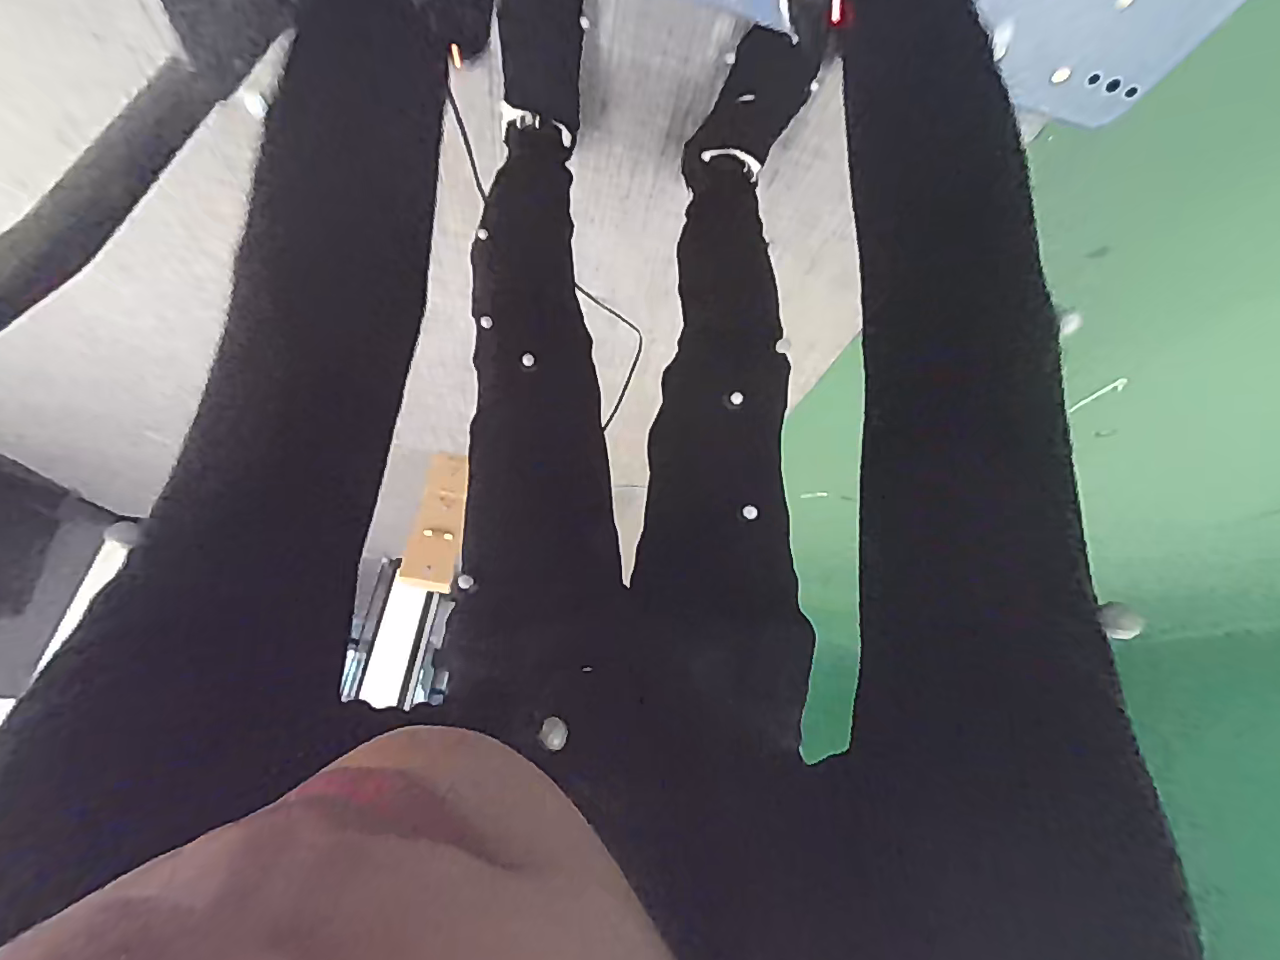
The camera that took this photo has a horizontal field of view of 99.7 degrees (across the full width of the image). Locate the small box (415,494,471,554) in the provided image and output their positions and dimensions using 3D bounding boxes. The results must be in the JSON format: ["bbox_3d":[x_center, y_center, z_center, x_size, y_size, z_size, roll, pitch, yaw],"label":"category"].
[{"bbox_3d":[-0.752,0.170,2.070,0.168,0.176,0.179,13,155,-15],"label":"small box"}]

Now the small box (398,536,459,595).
[{"bbox_3d":[-0.777,0.316,1.999,0.179,0.176,0.168,14,154,-14],"label":"small box"}]

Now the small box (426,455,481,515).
[{"bbox_3d":[-0.731,0.018,2.130,0.168,0.176,0.179,12,154,-10],"label":"small box"}]
